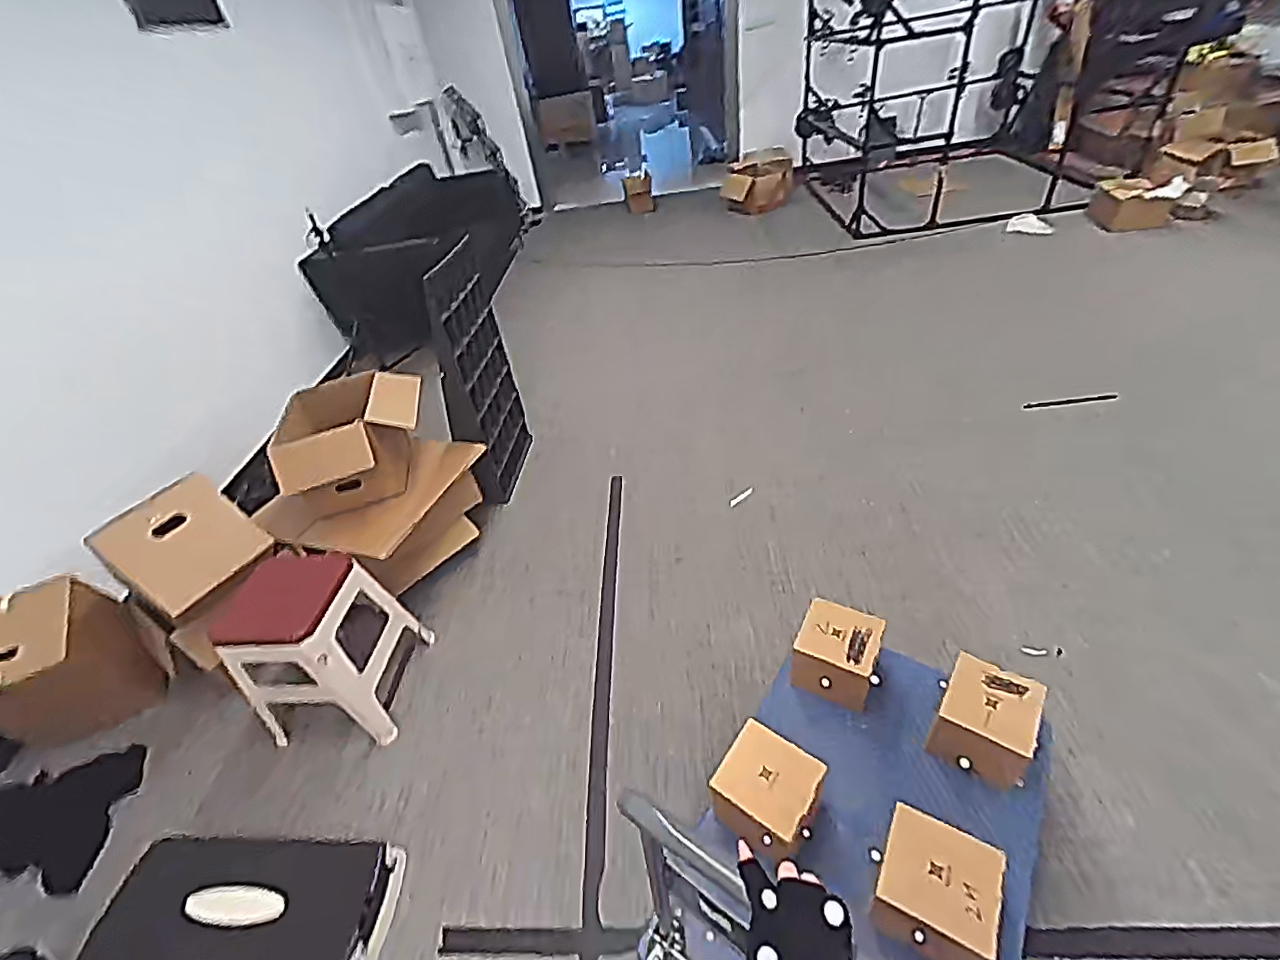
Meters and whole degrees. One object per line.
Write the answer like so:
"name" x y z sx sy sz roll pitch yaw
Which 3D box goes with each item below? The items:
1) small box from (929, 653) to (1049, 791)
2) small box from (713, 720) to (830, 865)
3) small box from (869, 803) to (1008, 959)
"small box" 0.742 0.518 1.161 0.168 0.176 0.179 20 49 32
"small box" 0.266 0.644 1.113 0.179 0.176 0.168 23 49 32
"small box" 0.520 0.725 0.957 0.179 0.176 0.168 16 46 29
